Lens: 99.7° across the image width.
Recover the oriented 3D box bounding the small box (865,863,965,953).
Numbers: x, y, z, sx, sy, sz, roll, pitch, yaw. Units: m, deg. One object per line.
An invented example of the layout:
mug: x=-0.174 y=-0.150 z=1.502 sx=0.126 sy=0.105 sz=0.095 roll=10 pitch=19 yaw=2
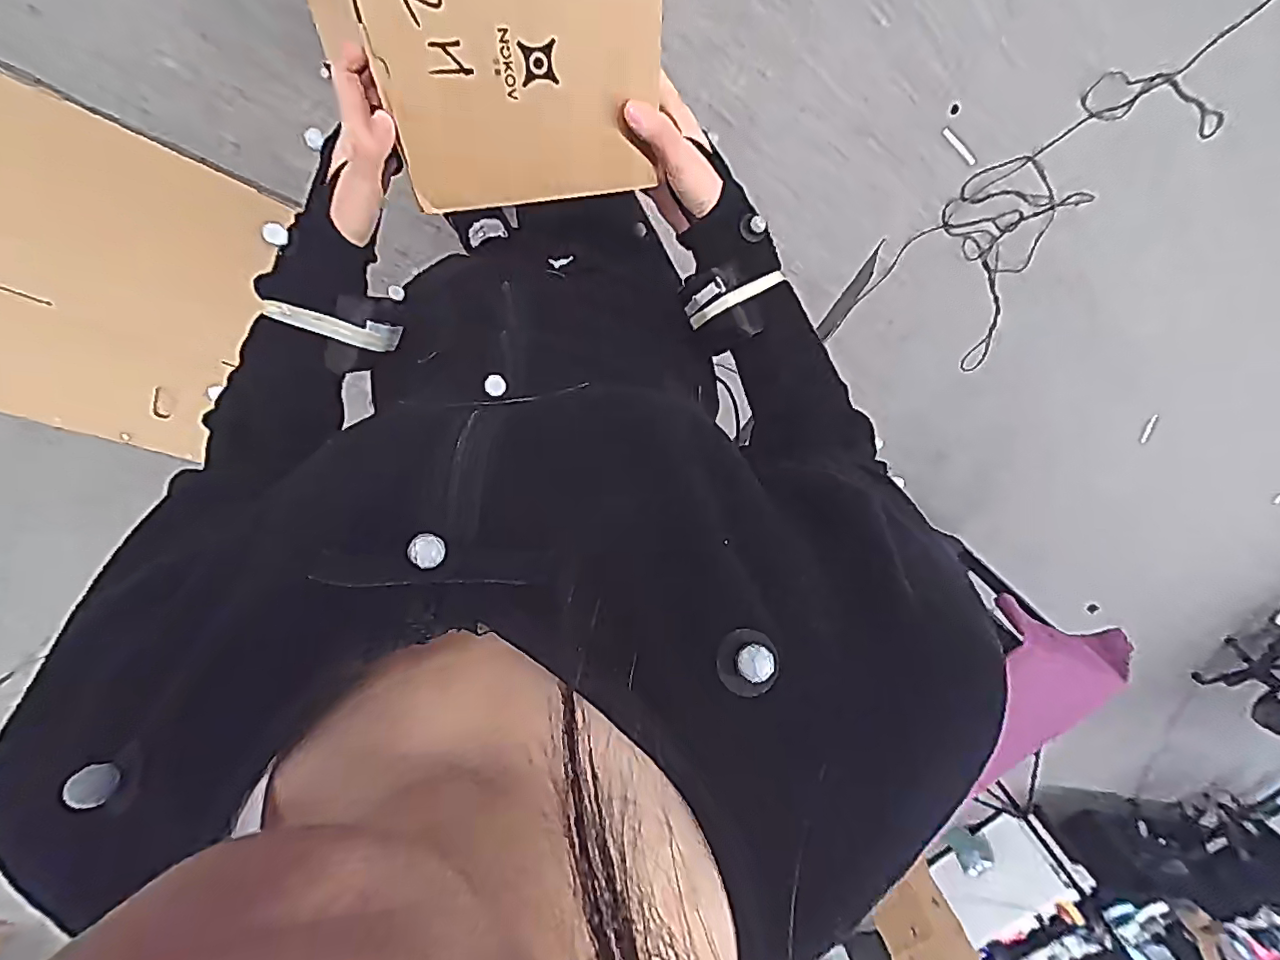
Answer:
small box: x=0.831 y=1.300 z=1.647 sx=0.179 sy=0.176 sz=0.168 roll=26 pitch=112 yaw=-30

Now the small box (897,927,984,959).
small box: x=0.863 y=1.387 z=1.512 sx=0.179 sy=0.176 sz=0.168 roll=26 pitch=112 yaw=-30

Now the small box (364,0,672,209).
small box: x=-0.086 y=-0.317 z=0.374 sx=0.179 sy=0.176 sz=0.168 roll=-12 pitch=143 yaw=-9
